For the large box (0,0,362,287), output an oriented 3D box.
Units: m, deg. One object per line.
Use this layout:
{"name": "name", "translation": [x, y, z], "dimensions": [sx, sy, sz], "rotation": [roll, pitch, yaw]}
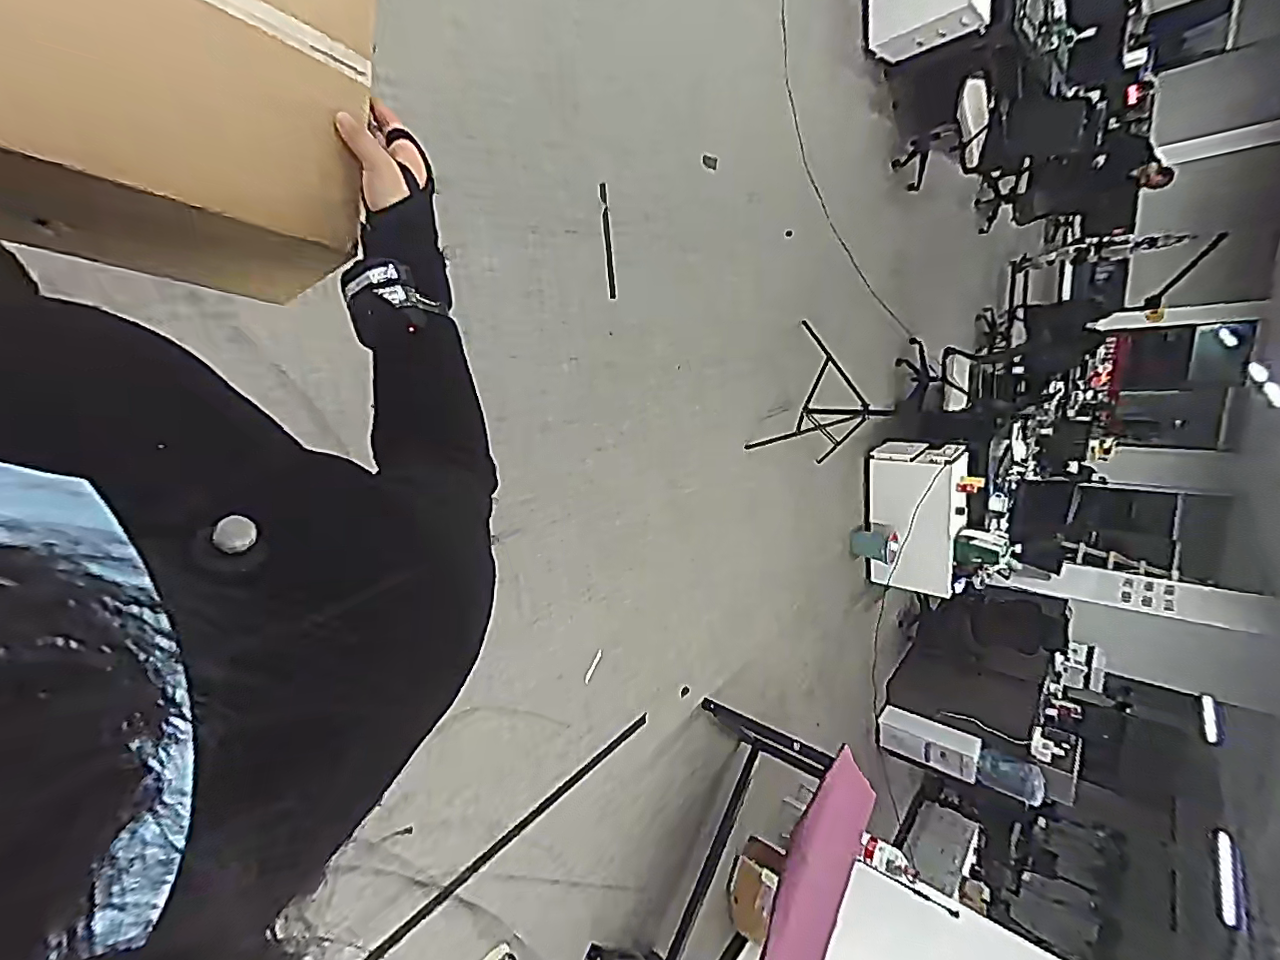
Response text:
{"name": "large box", "translation": [-0.498, -0.387, 0.458], "dimensions": [0.408, 0.320, 0.320], "rotation": [3, 92, -44]}
